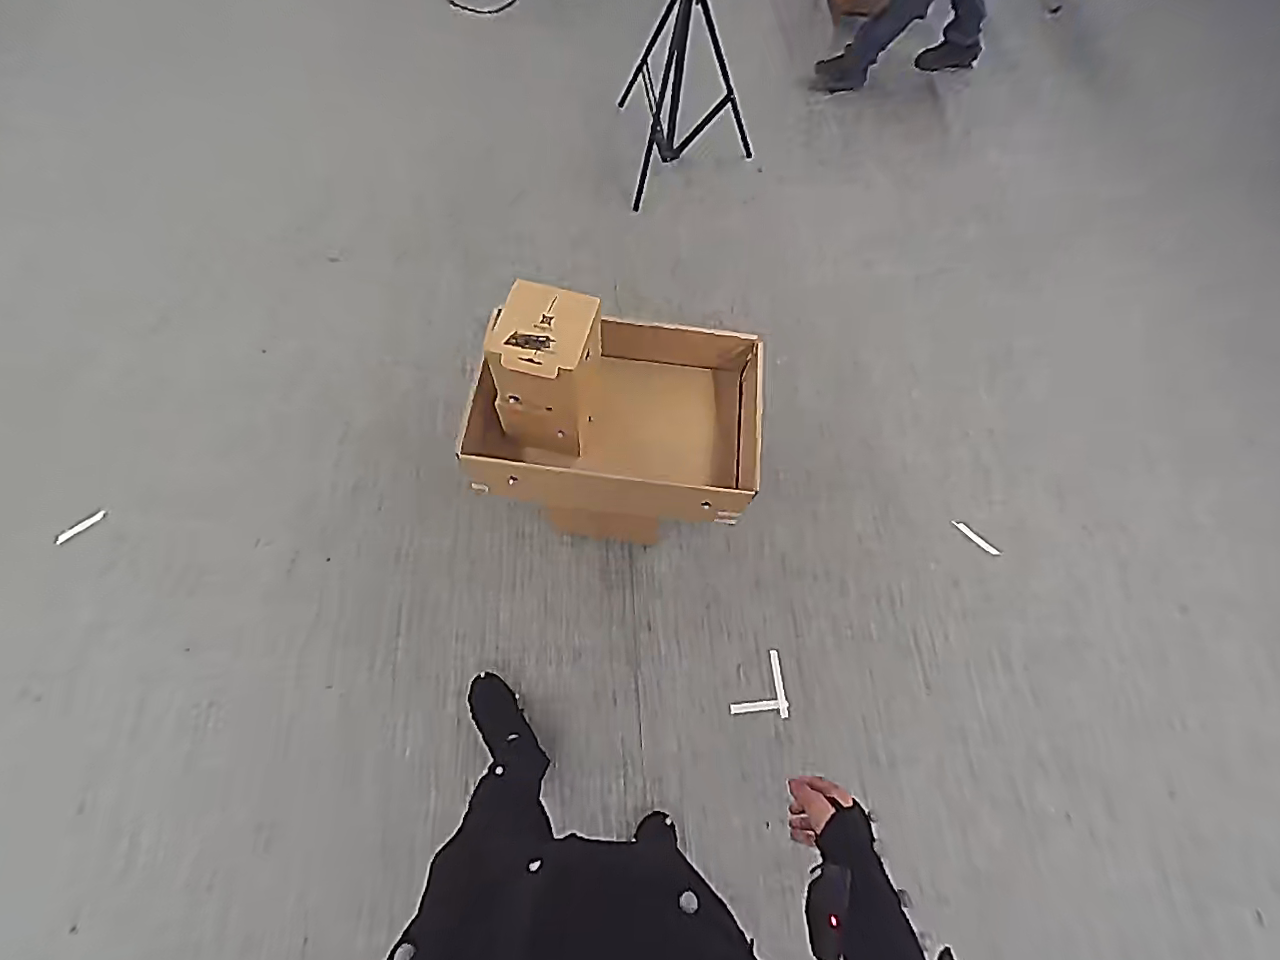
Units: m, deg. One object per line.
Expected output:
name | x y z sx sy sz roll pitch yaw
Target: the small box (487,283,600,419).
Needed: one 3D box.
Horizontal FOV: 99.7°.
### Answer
small box | -0.176 -0.242 1.048 0.168 0.176 0.179 14 66 2
